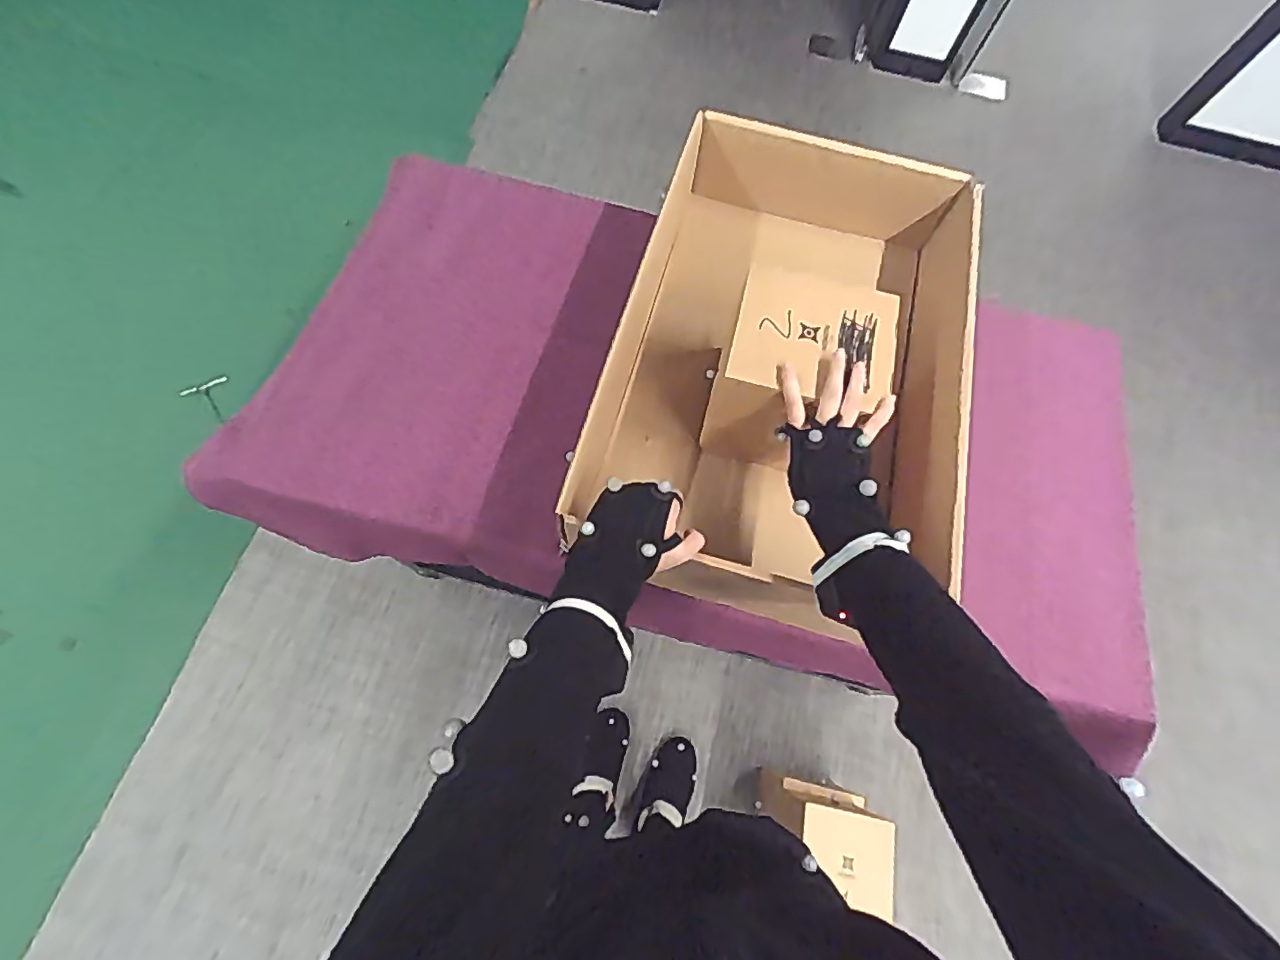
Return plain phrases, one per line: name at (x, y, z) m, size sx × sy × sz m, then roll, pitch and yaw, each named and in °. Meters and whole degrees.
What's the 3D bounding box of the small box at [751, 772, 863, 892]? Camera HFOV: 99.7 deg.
small box at (0.356, 0.750, 1.172) m, size 0.179 × 0.176 × 0.168 m, roll 14°, pitch 69°, yaw 2°
